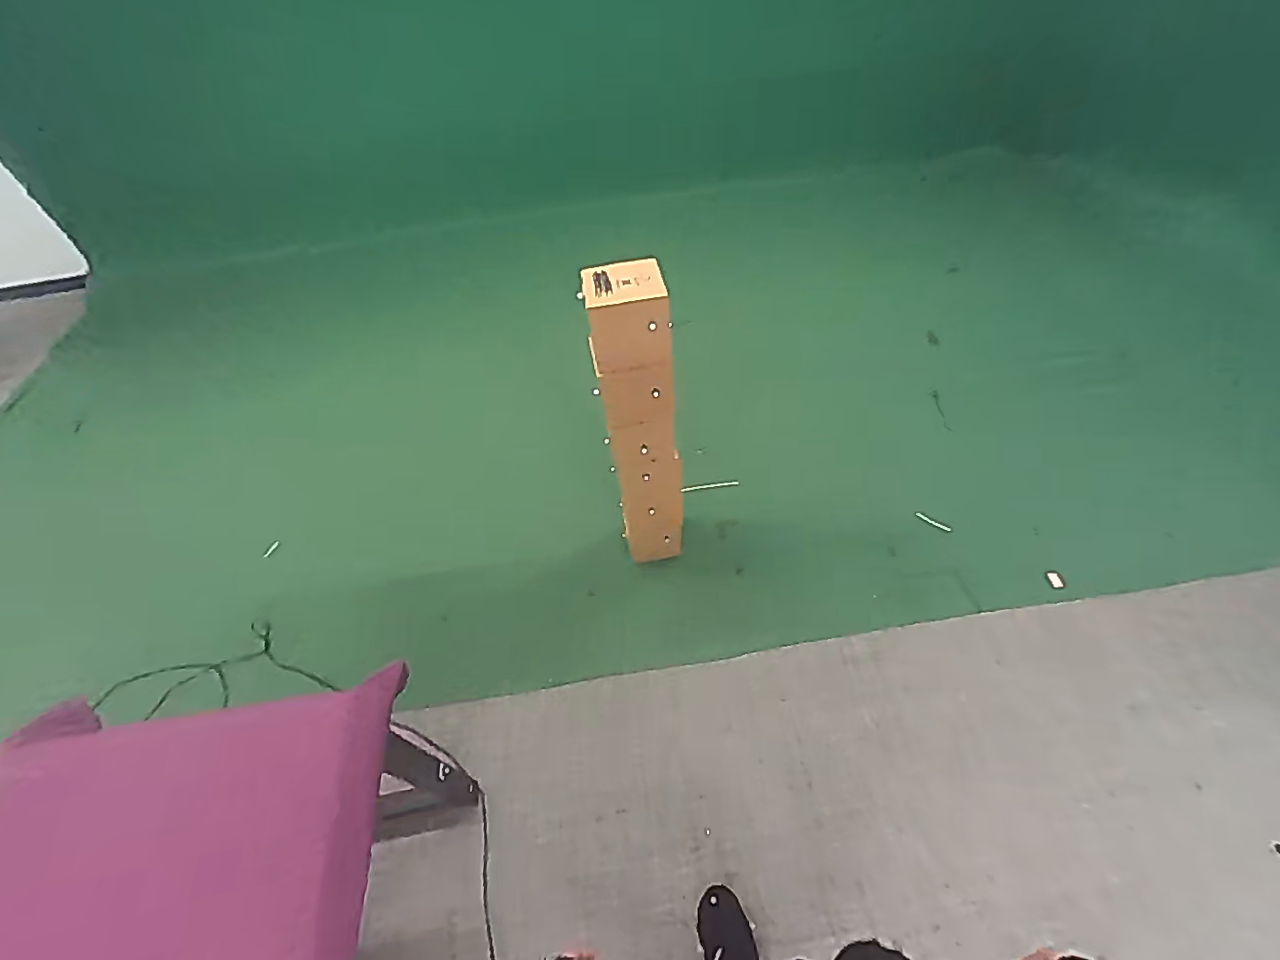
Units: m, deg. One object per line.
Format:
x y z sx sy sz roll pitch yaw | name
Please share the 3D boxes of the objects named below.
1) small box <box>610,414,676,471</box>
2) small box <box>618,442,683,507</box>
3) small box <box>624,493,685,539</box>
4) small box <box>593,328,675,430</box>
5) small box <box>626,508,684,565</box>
0.002 -0.143 1.475 0.168 0.176 0.179 -11 51 -2 | small box
0.025 -0.040 1.599 0.179 0.176 0.168 -12 51 -4 | small box
0.043 0.065 1.723 0.179 0.176 0.168 -12 50 -2 | small box
-0.011 -0.249 1.351 0.179 0.176 0.168 -11 49 -1 | small box
0.052 0.171 1.846 0.179 0.176 0.168 -9 50 -1 | small box
